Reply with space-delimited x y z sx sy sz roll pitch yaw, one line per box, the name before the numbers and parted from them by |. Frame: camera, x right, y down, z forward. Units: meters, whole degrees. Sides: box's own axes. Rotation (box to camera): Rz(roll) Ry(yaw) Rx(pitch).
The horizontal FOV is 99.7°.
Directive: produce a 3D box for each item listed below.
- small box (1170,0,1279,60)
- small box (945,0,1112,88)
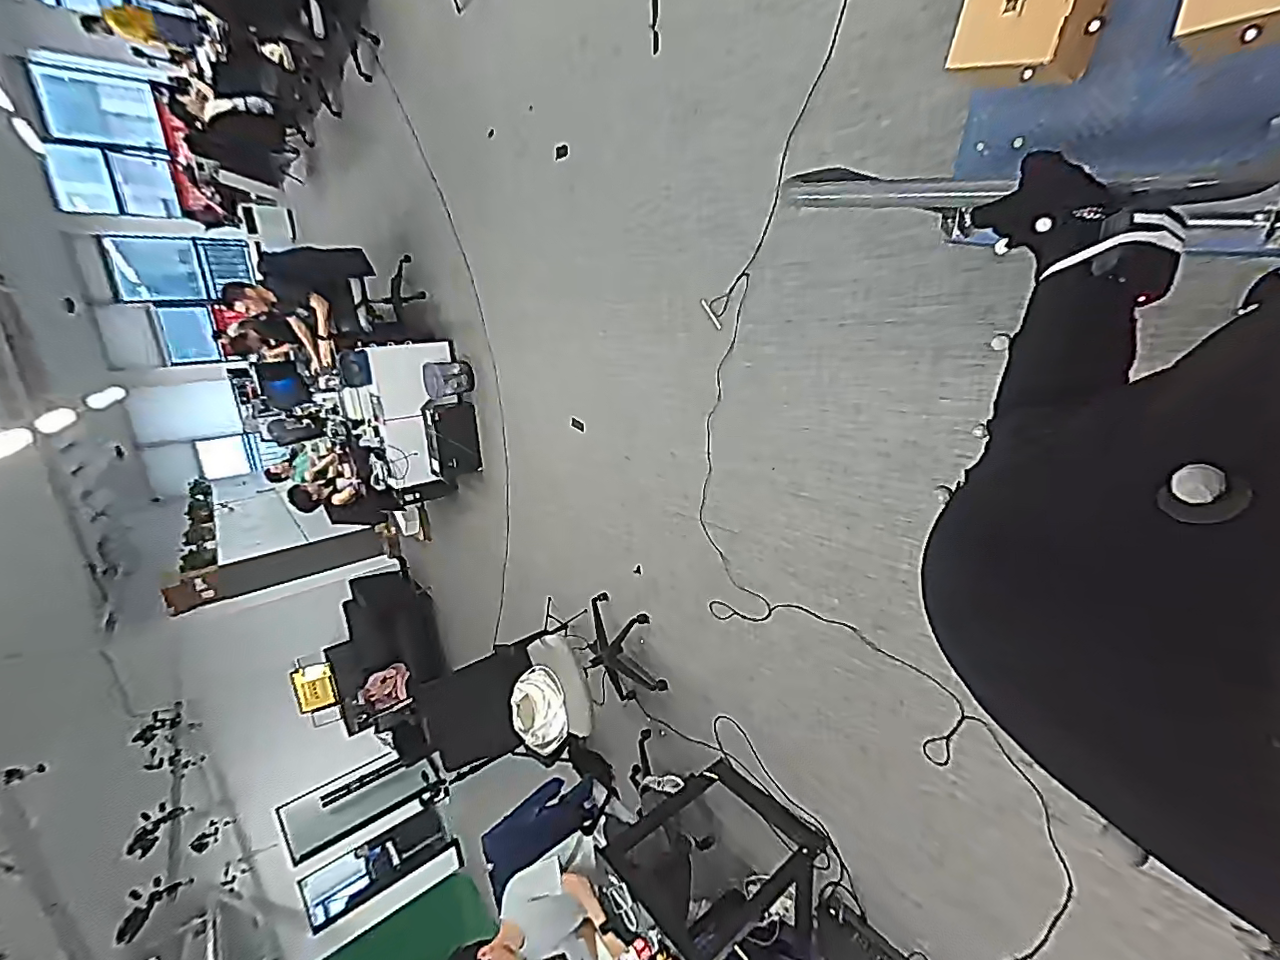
small box | 0.874 -0.700 0.728 0.179 0.176 0.168 24 122 46
small box | 0.681 -0.803 0.944 0.179 0.176 0.168 33 127 40
